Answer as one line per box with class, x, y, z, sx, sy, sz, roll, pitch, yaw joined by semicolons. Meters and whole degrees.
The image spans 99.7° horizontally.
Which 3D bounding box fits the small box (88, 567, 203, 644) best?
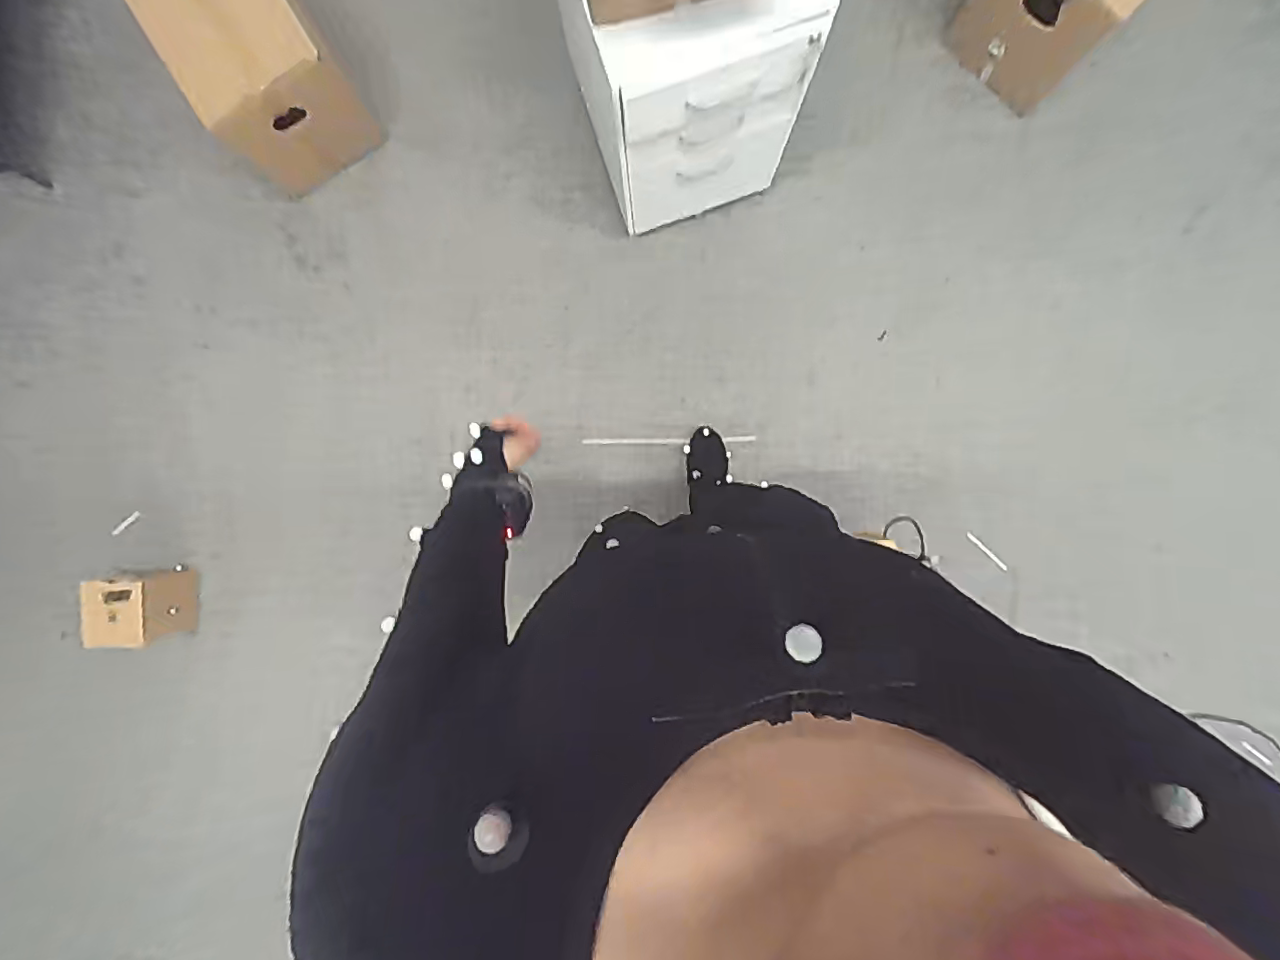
small box;-1.332;0.334;1.467;0.168;0.176;0.179;1;91;2
